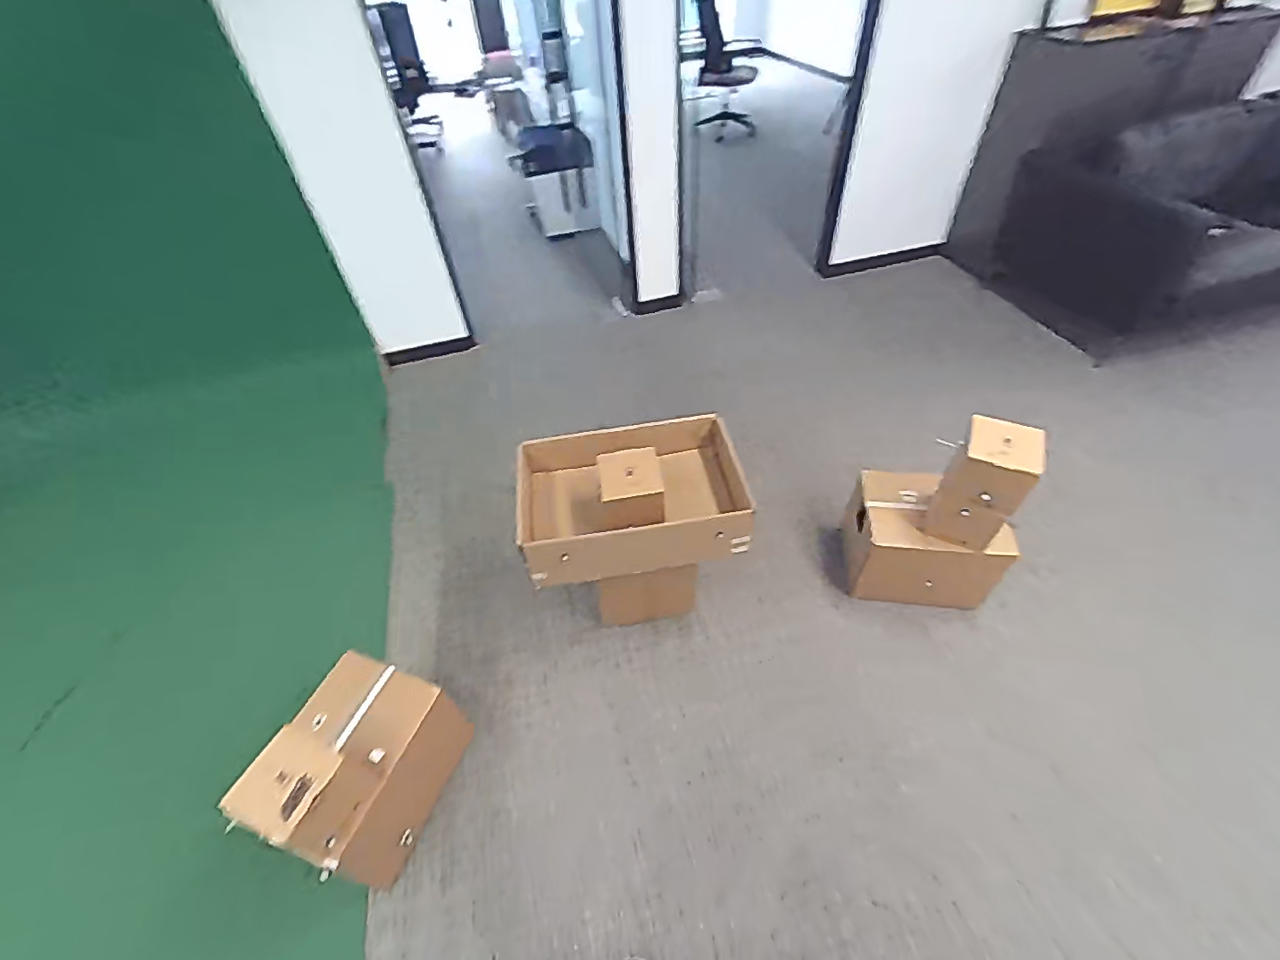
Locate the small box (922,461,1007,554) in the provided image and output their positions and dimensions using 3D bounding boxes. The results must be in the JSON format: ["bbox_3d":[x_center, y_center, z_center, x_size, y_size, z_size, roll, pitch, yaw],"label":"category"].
[{"bbox_3d":[0.936,0.078,1.559,0.168,0.176,0.179,19,51,20],"label":"small box"}]

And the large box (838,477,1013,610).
[{"bbox_3d":[0.903,0.208,1.776,0.408,0.320,0.320,3,46,8],"label":"large box"}]

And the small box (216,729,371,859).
[{"bbox_3d":[-0.700,0.653,1.118,0.179,0.176,0.168,15,48,18],"label":"small box"}]

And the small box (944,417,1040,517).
[{"bbox_3d":[0.931,-0.034,1.437,0.168,0.176,0.179,18,52,20],"label":"small box"}]
